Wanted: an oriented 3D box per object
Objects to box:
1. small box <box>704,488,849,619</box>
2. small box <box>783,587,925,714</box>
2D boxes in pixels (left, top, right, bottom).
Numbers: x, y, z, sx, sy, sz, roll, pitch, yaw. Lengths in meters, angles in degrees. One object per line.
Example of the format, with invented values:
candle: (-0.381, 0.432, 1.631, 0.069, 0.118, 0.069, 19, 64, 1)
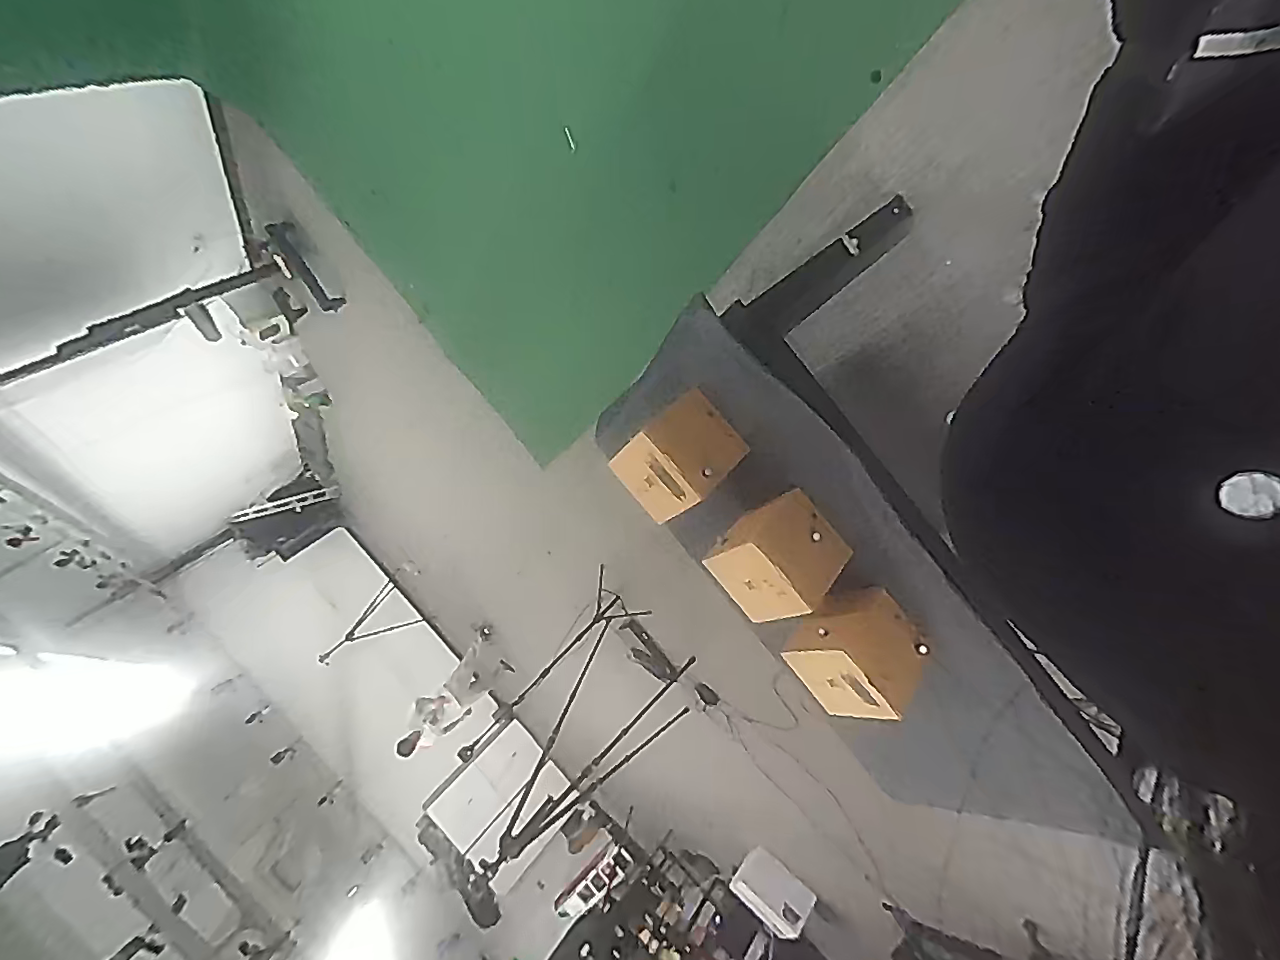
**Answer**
small box: (0.264, 0.143, 1.043, 0.168, 0.176, 0.179, 49, 147, -2)
small box: (0.422, 0.327, 1.052, 0.168, 0.176, 0.179, 51, 148, -3)
